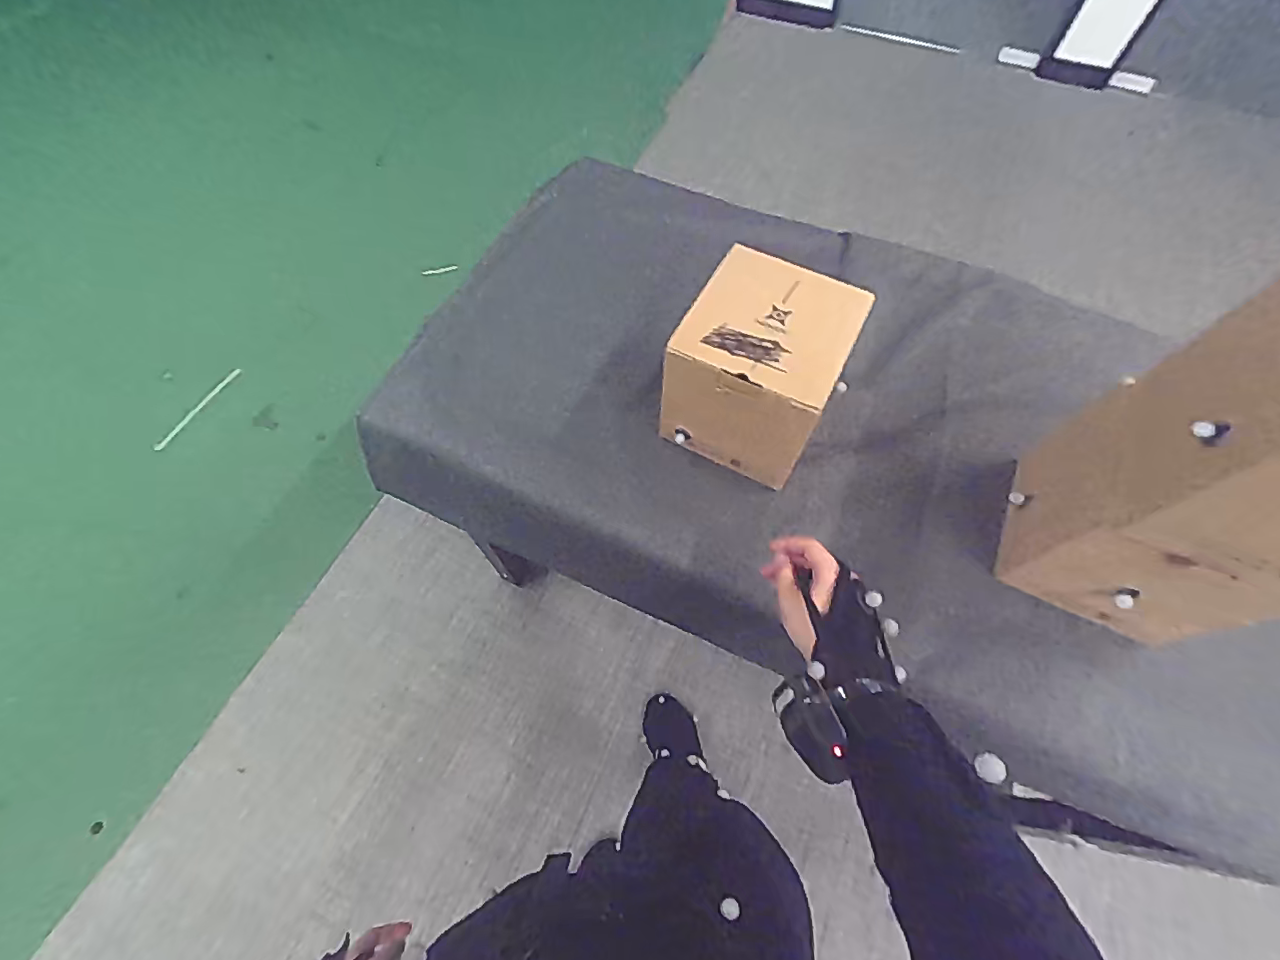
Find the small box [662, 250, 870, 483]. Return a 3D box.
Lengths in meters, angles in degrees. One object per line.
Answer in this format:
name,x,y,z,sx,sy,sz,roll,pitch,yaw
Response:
small box,0.135,-0.124,0.633,0.168,0.176,0.179,26,64,12
